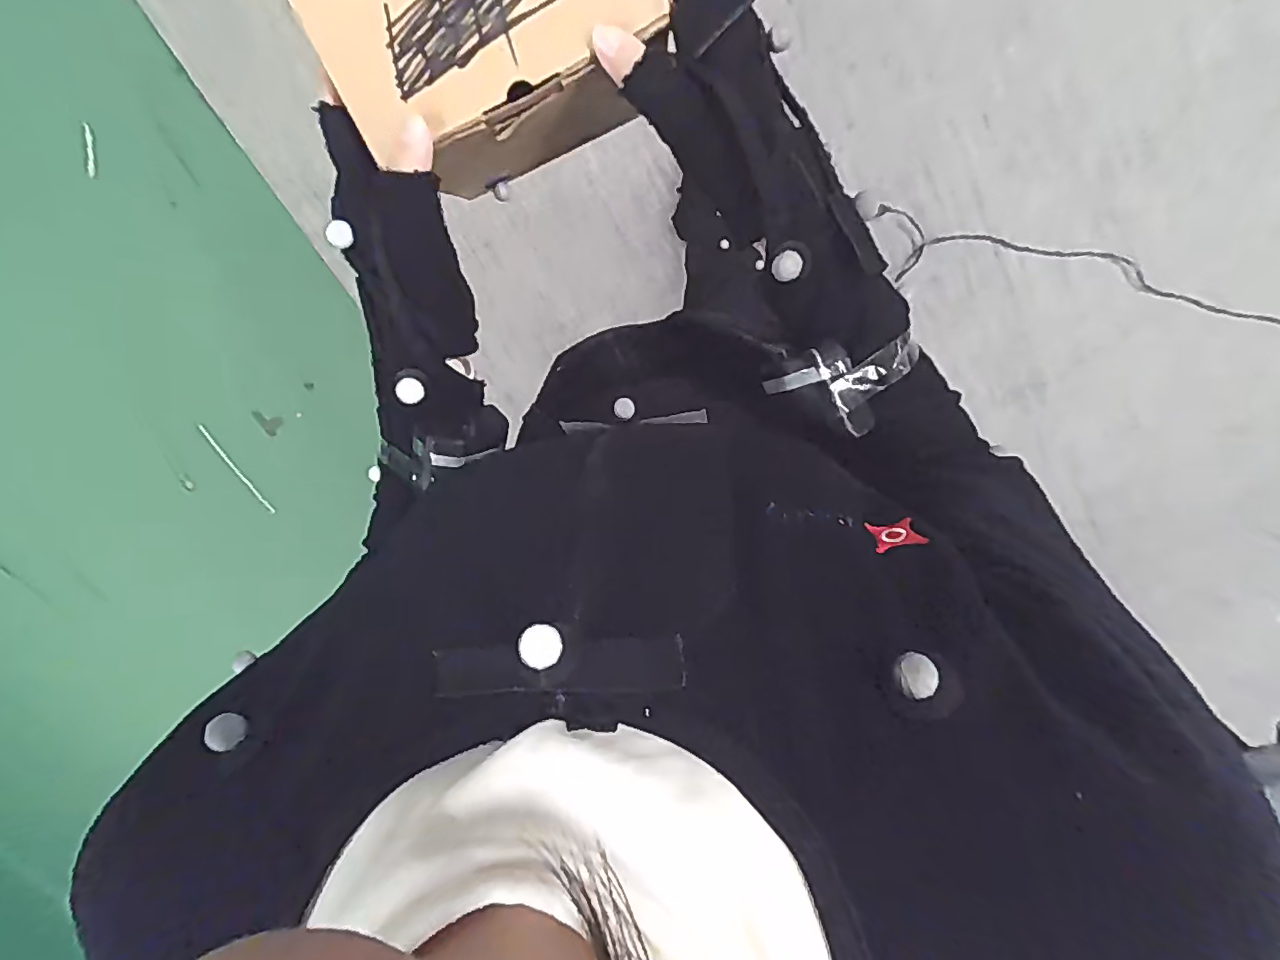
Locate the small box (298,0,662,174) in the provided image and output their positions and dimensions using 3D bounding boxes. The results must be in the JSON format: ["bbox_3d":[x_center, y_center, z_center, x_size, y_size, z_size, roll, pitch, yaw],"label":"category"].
[{"bbox_3d":[-0.095,-0.304,0.317,0.168,0.176,0.179,-25,111,10],"label":"small box"}]
